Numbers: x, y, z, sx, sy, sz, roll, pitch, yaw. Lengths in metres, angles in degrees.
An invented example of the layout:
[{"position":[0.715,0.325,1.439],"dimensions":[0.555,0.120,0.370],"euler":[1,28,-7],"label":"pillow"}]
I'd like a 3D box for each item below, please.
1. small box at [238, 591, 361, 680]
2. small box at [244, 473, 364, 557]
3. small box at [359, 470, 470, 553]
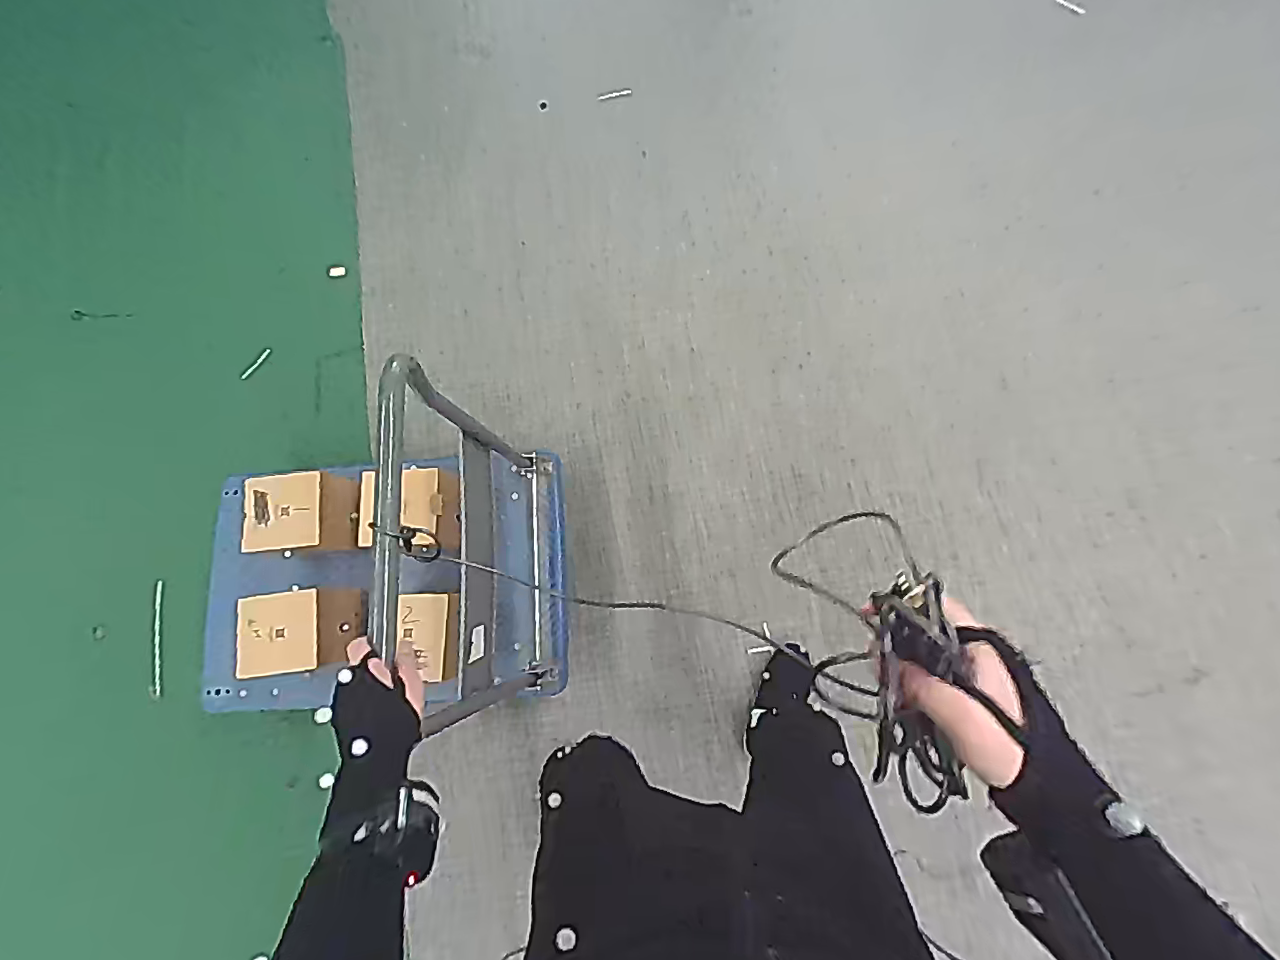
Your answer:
[{"position":[-0.746,0.338,1.203],"dimensions":[0.179,0.176,0.168],"euler":[-8,77,3],"label":"small box"},{"position":[-0.770,0.088,1.256],"dimensions":[0.179,0.176,0.168],"euler":[-6,79,2],"label":"small box"},{"position":[-0.508,0.078,1.239],"dimensions":[0.179,0.176,0.168],"euler":[-3,78,3],"label":"small box"}]
